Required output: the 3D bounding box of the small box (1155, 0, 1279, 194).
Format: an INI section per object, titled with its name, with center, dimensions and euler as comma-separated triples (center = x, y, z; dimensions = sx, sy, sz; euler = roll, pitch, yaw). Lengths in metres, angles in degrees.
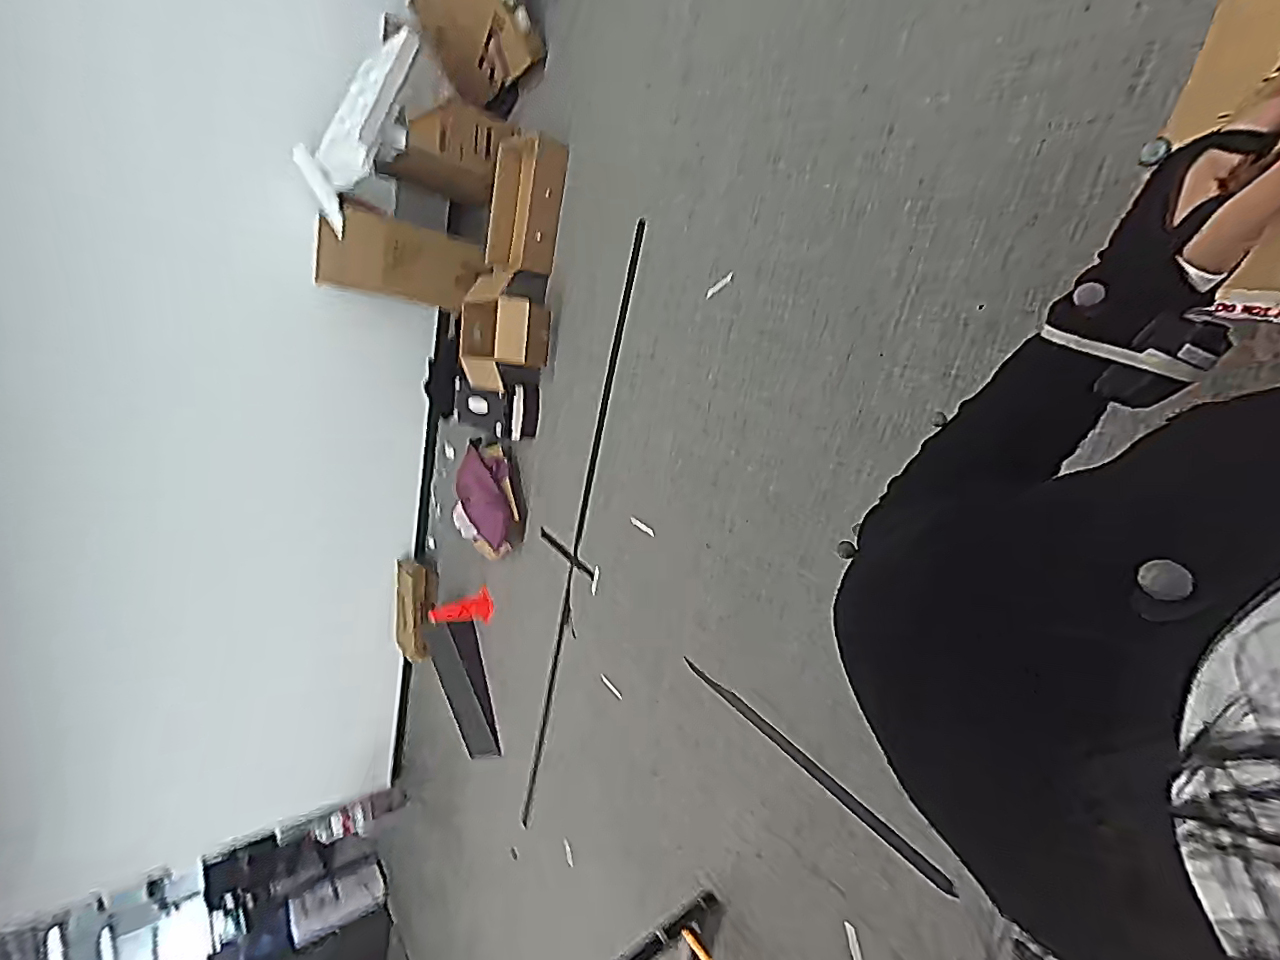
[small box]
center = 0.734, -0.439, 0.606
dimensions = 0.168, 0.176, 0.179
euler = 32, 117, 45
